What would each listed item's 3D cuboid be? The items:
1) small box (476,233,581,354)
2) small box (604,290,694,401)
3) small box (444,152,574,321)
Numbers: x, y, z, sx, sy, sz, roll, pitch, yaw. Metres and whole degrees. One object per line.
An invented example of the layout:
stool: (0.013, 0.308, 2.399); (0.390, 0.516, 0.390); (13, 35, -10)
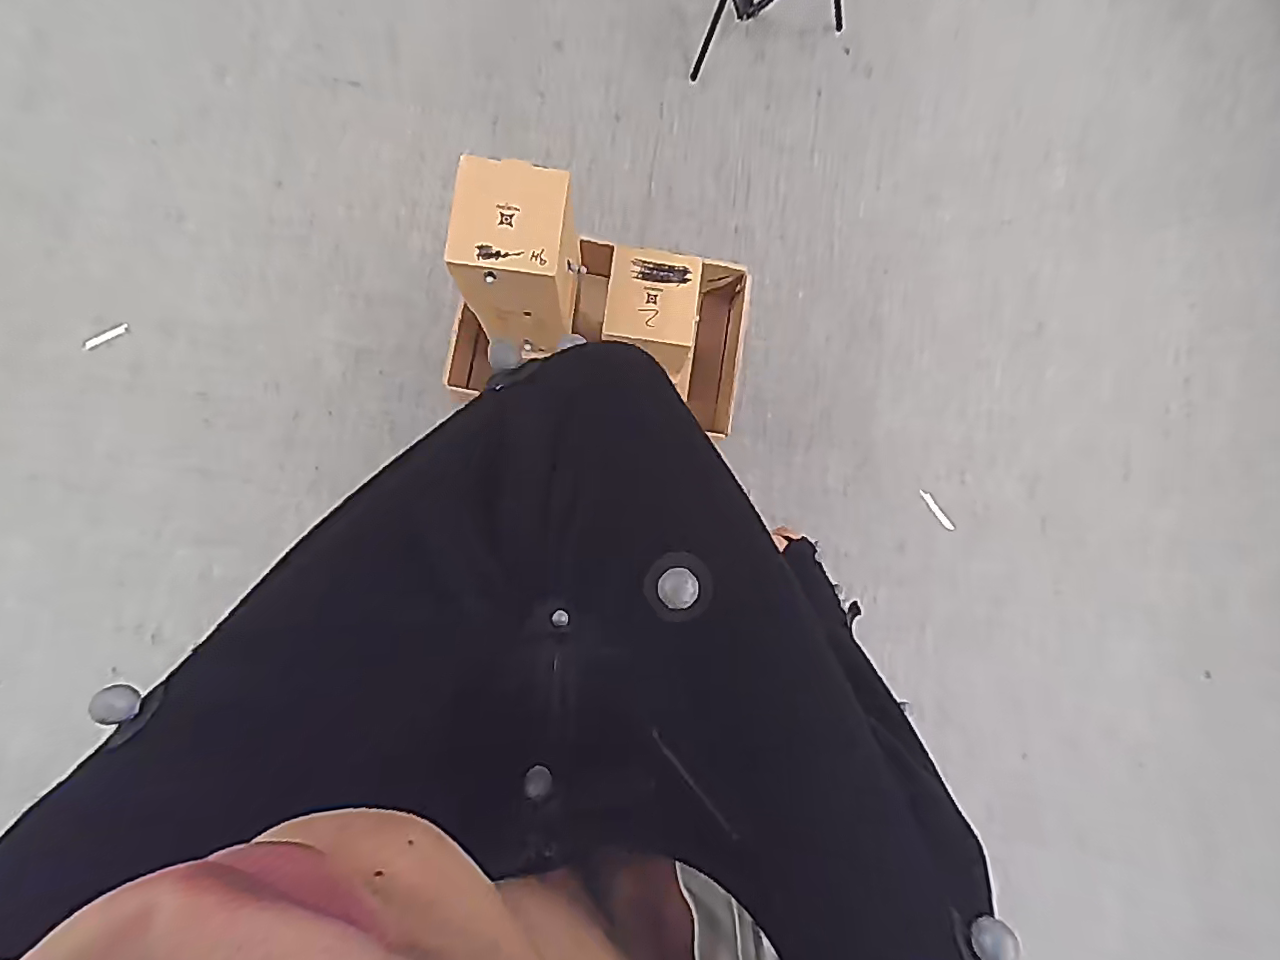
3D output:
small box: (-0.205, -0.363, 1.041); (0.168, 0.176, 0.179); (7, 83, -3)
small box: (0.015, -0.295, 1.215); (0.168, 0.176, 0.179); (12, 83, -1)
small box: (-0.200, -0.384, 0.877); (0.168, 0.176, 0.179); (7, 82, -3)
